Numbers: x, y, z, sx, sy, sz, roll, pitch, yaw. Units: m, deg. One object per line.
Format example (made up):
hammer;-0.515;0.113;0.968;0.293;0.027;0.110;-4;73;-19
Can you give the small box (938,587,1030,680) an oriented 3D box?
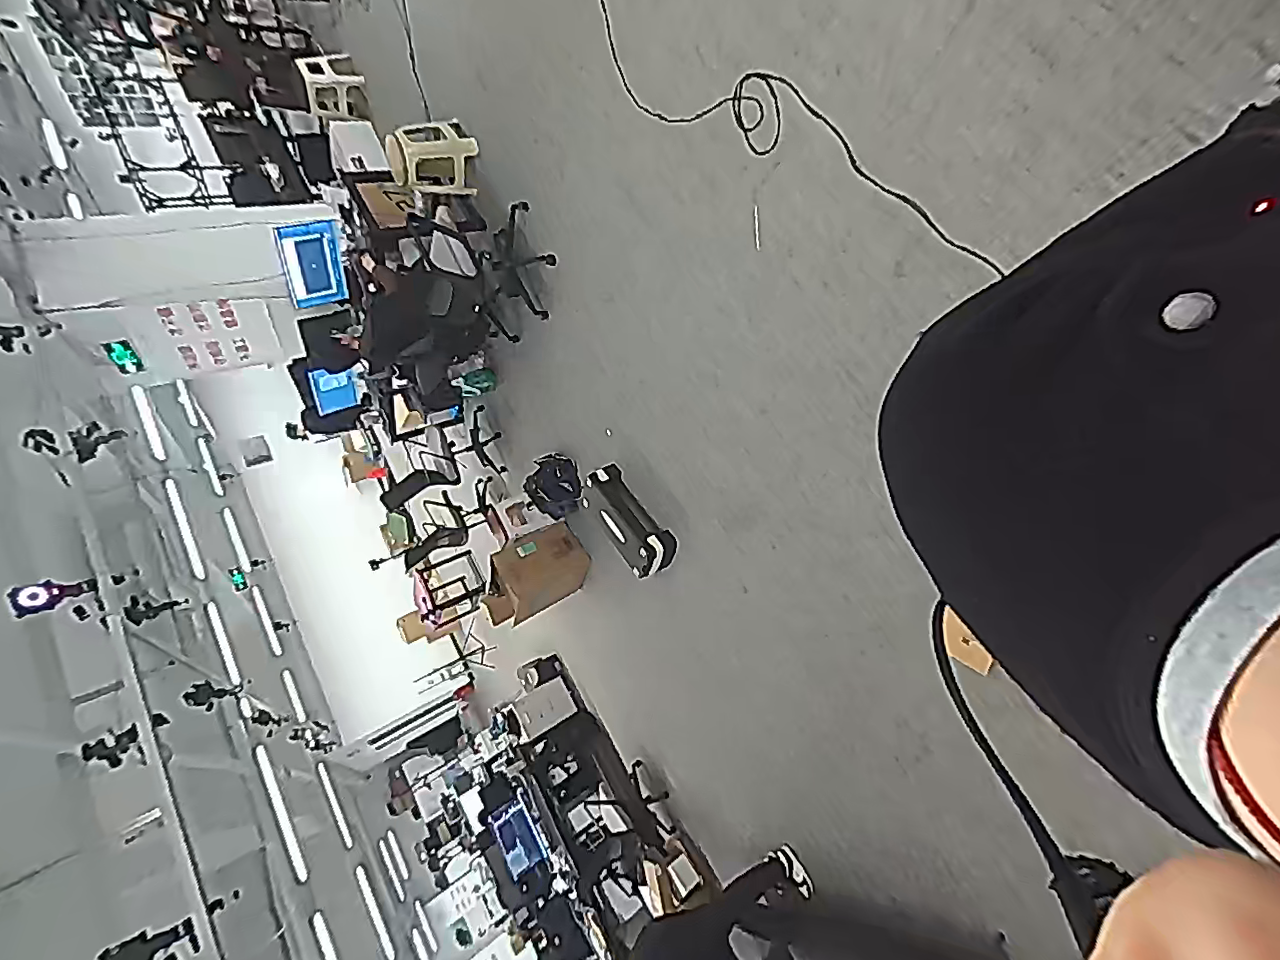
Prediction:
small box;1.043;0.456;1.638;0.168;0.176;0.179;32;137;45
